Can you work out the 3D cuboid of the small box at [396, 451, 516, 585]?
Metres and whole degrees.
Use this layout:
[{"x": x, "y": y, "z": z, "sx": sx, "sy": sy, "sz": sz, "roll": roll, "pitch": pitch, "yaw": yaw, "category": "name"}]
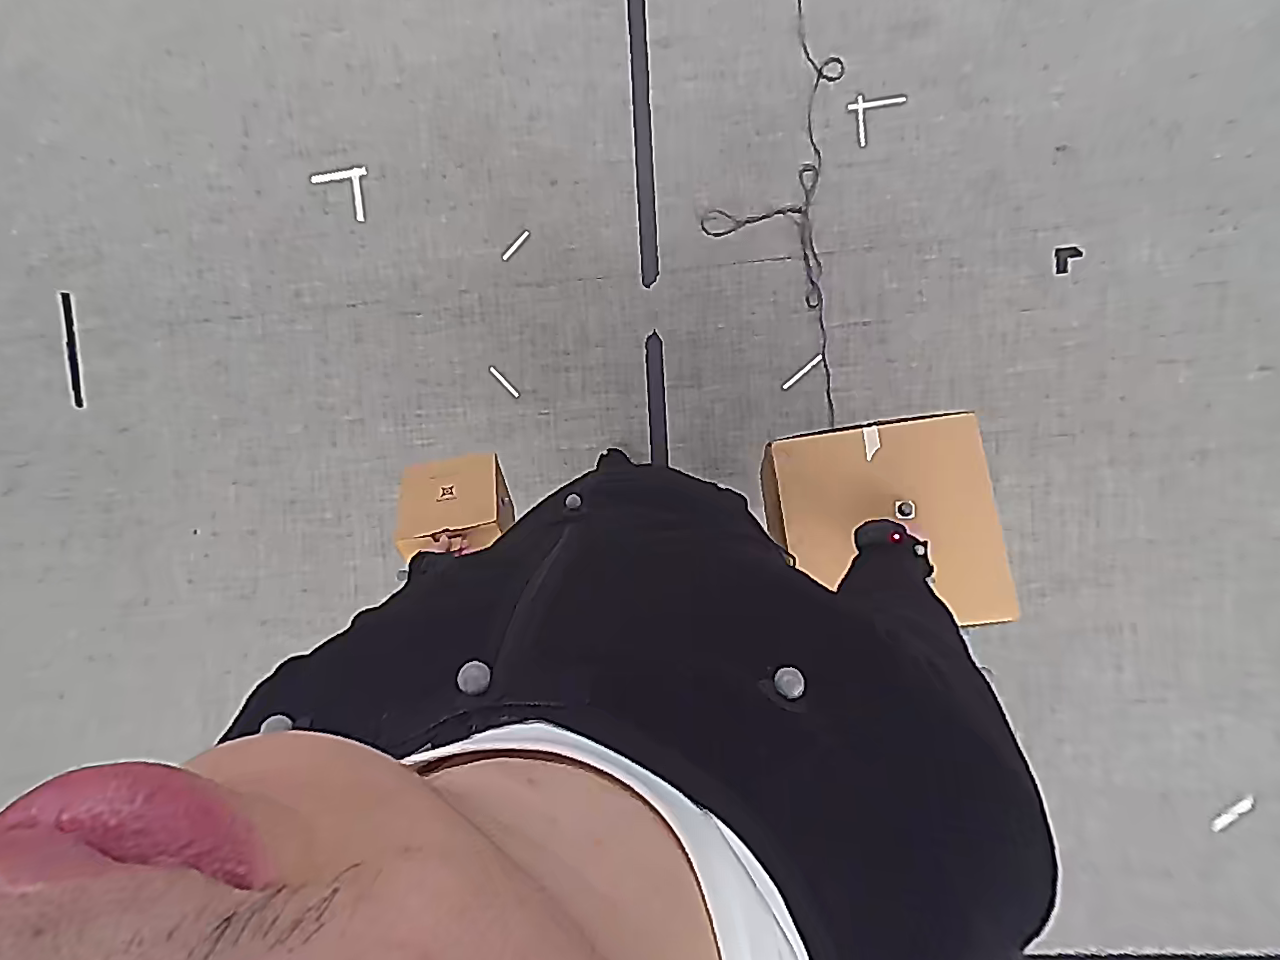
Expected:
[{"x": -0.328, "y": 0.076, "z": 0.992, "sx": 0.168, "sy": 0.176, "sz": 0.179, "roll": -10, "pitch": 48, "yaw": -7, "category": "small box"}]
